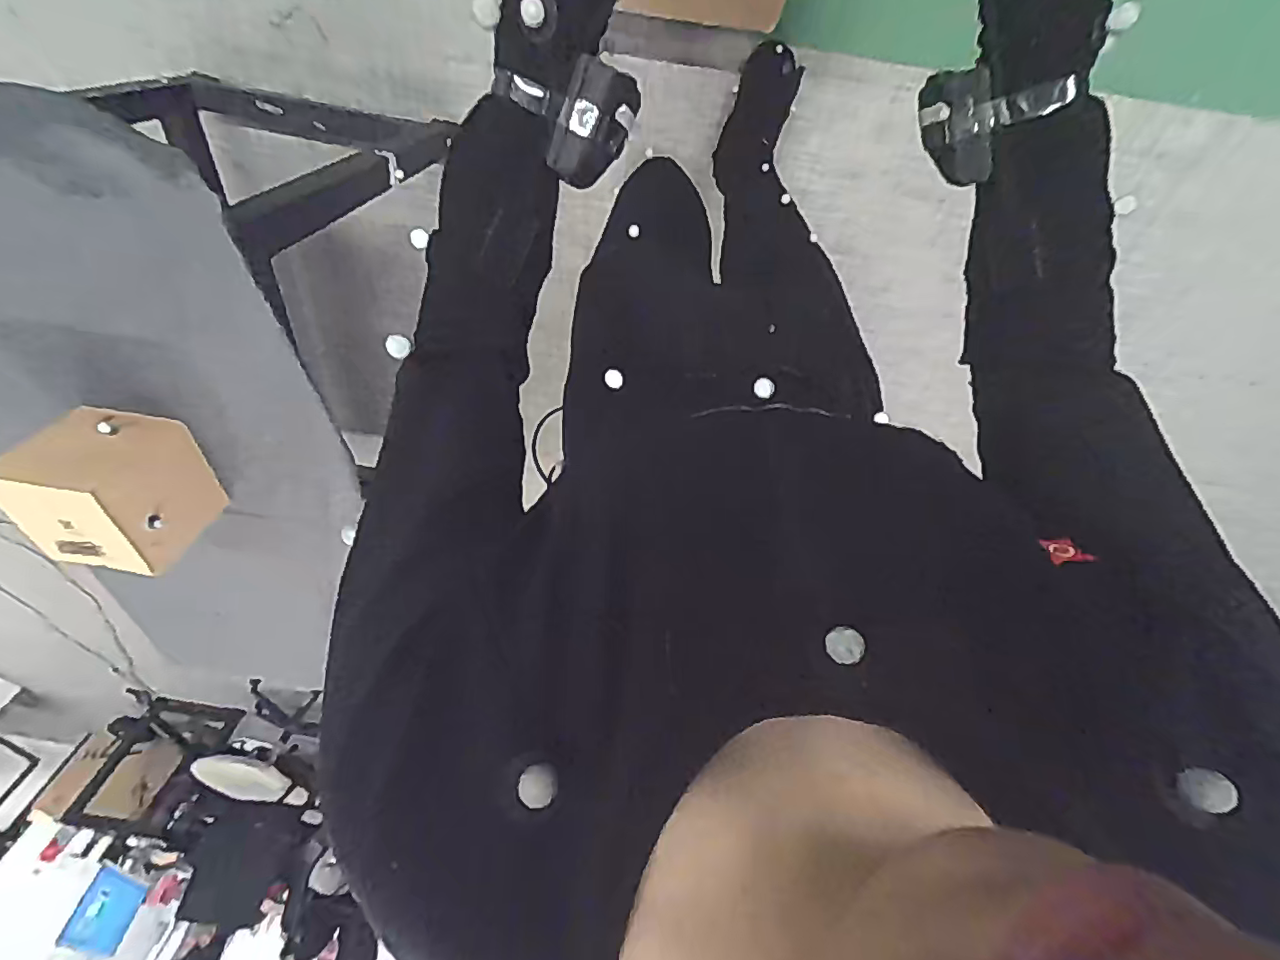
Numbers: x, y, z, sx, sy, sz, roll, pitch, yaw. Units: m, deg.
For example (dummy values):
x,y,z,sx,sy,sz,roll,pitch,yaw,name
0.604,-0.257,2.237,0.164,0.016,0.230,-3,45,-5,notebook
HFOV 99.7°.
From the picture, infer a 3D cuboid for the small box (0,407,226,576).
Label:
x,y,z,sx,sy,sz,roll,pitch,yaw,name
-0.788,0.016,0.824,0.168,0.176,0.179,9,132,1,small box
